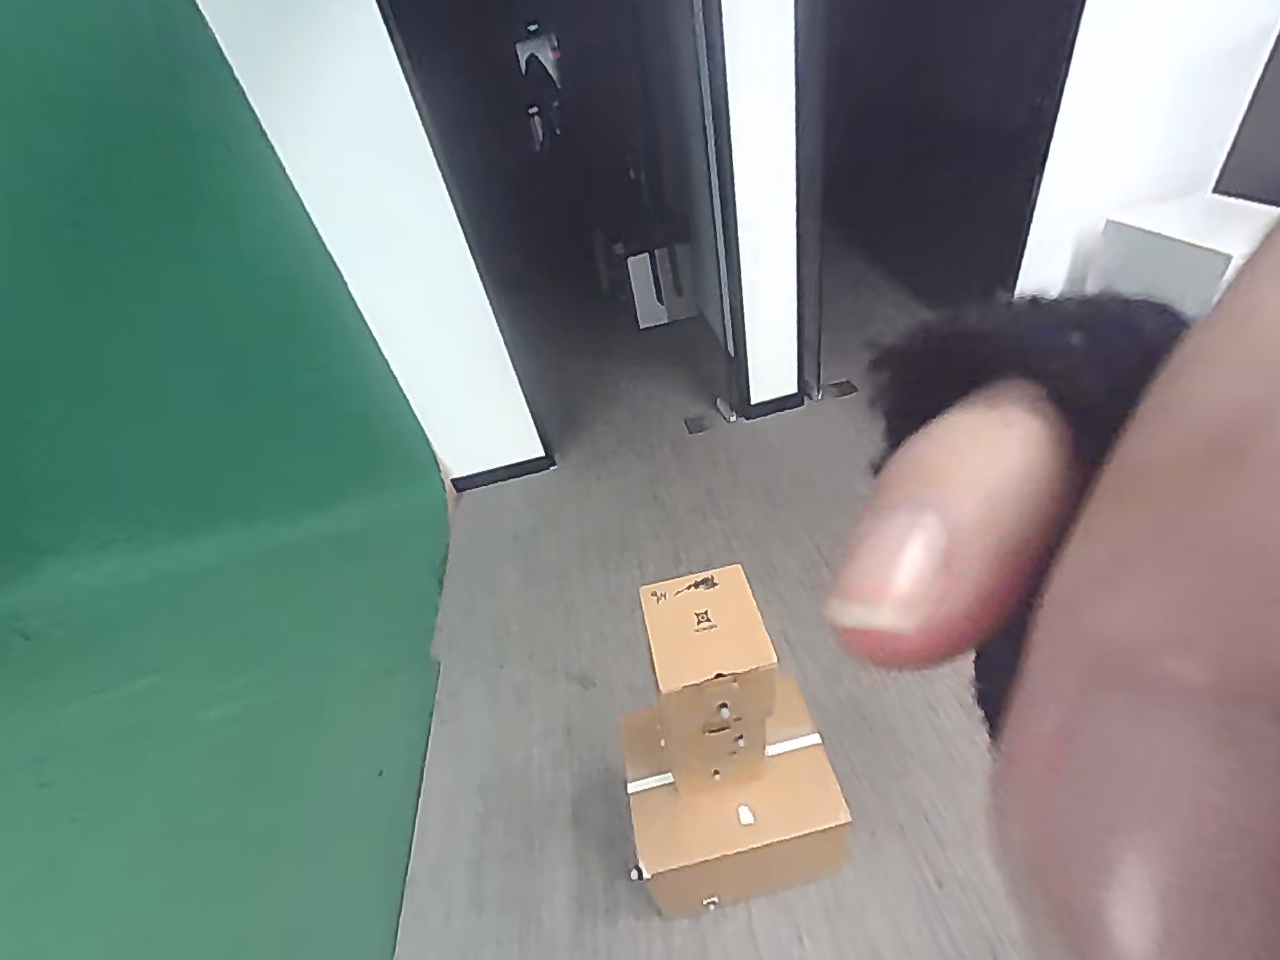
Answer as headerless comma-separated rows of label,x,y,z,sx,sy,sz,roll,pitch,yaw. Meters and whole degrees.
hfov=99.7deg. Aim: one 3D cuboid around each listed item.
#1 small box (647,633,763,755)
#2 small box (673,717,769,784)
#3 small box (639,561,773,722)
small box,0.118,0.370,0.968,0.168,0.176,0.179,-13,44,-1
small box,0.146,0.482,1.082,0.179,0.176,0.168,-15,45,-1
small box,0.105,0.259,0.849,0.168,0.176,0.179,-14,45,0
